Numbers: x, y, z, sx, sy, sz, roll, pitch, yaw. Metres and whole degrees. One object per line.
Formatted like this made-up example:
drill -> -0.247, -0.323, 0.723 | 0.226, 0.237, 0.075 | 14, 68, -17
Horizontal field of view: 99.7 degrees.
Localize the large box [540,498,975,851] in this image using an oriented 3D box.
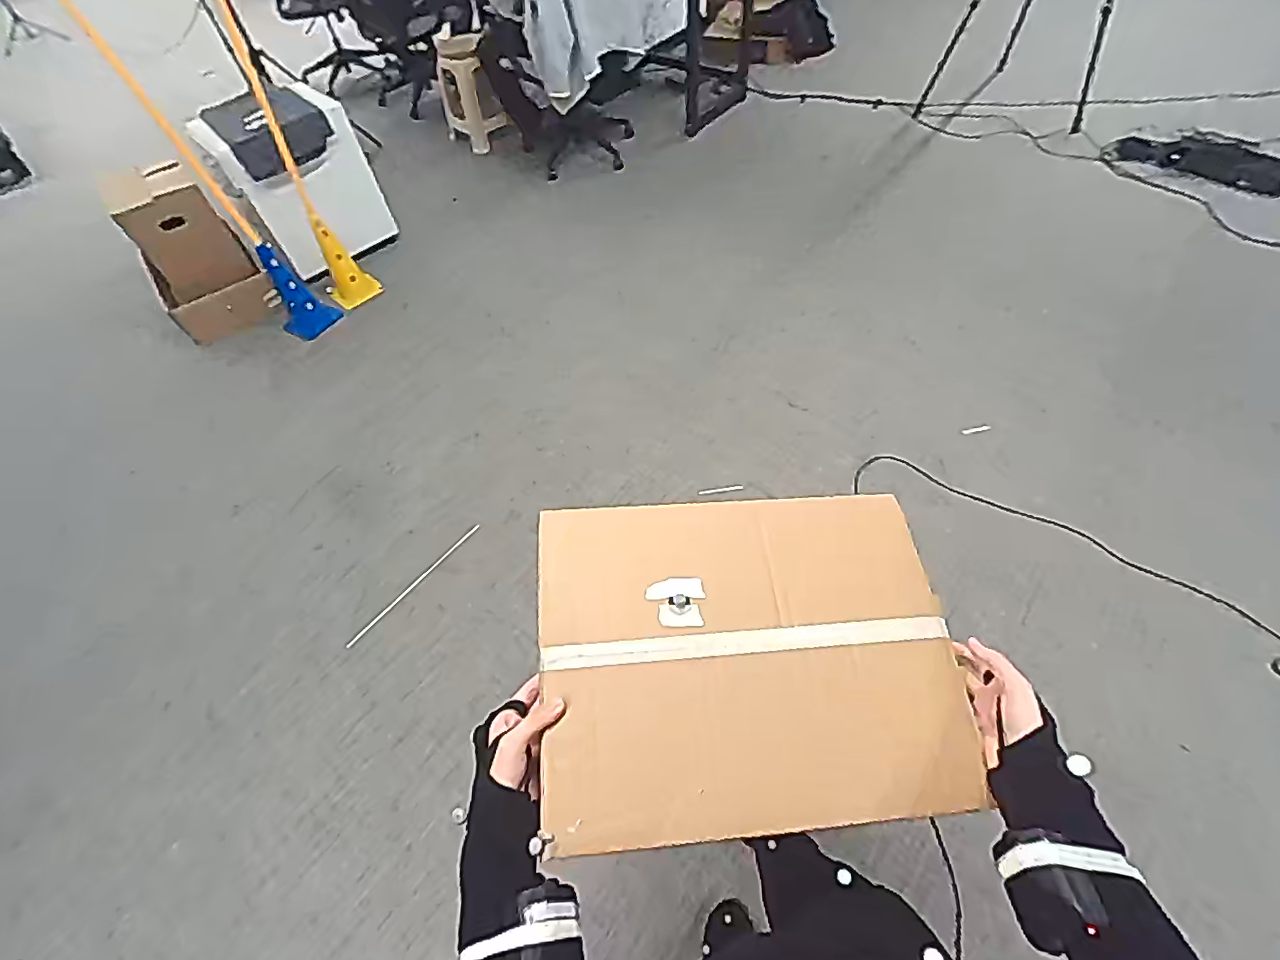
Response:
large box -> 0.095, 0.237, 0.679 | 0.408, 0.320, 0.320 | -3, 62, -5
